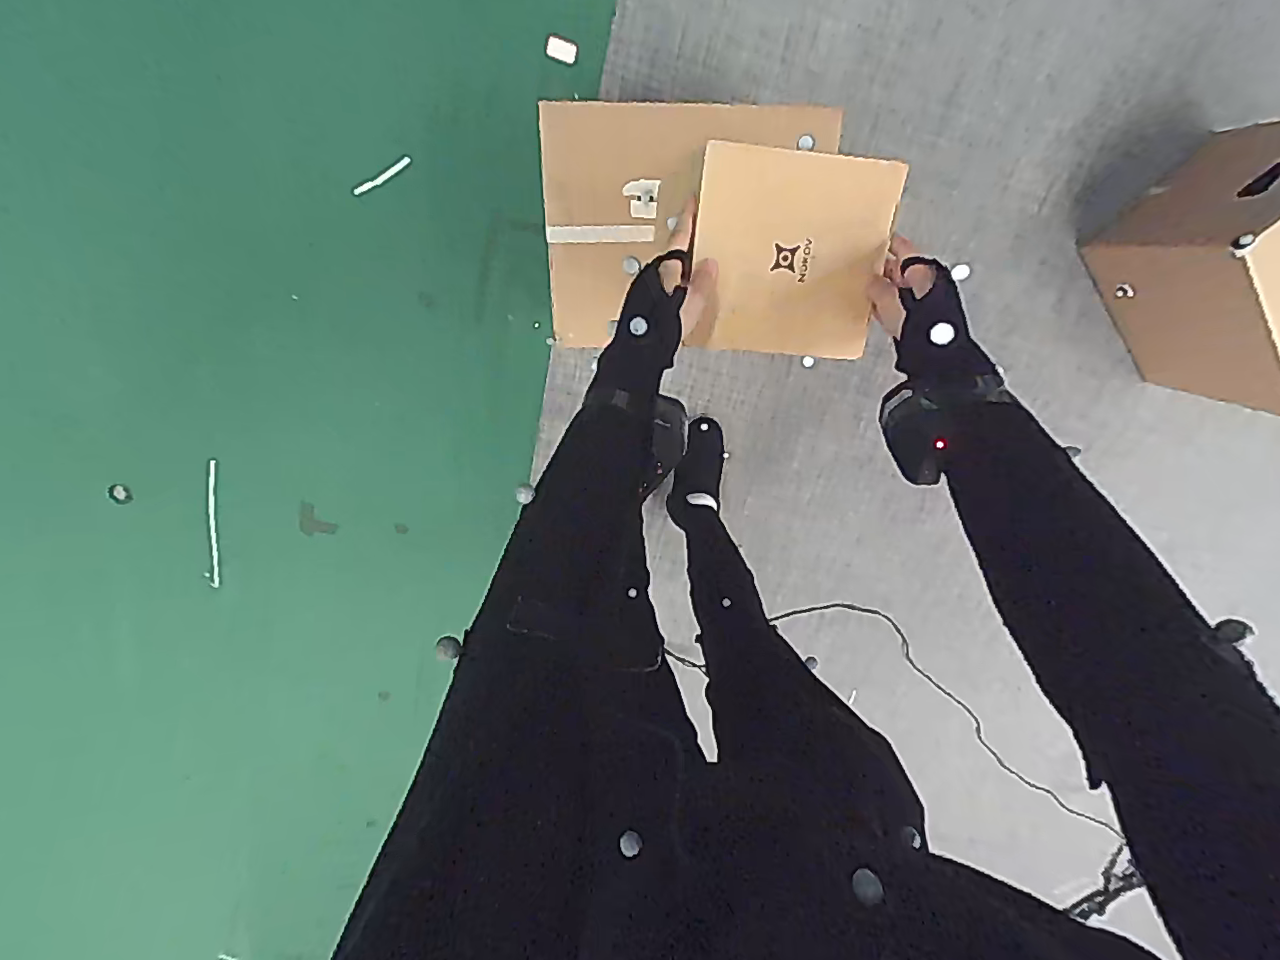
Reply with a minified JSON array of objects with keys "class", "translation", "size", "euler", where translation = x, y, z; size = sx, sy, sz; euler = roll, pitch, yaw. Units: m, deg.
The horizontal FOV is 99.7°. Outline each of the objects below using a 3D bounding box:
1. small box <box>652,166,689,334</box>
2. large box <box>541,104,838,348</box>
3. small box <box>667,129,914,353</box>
[{"class":"small box","translation":[0.109,-0.284,0.693],"size":[0.168,0.176,0.179],"euler":[3,113,-7]},{"class":"large box","translation":[0.062,-0.407,0.904],"size":[0.408,0.320,0.320],"euler":[-2,112,-3]},{"class":"small box","translation":[0.128,-0.229,0.541],"size":[0.179,0.176,0.168],"euler":[3,113,-7]}]
